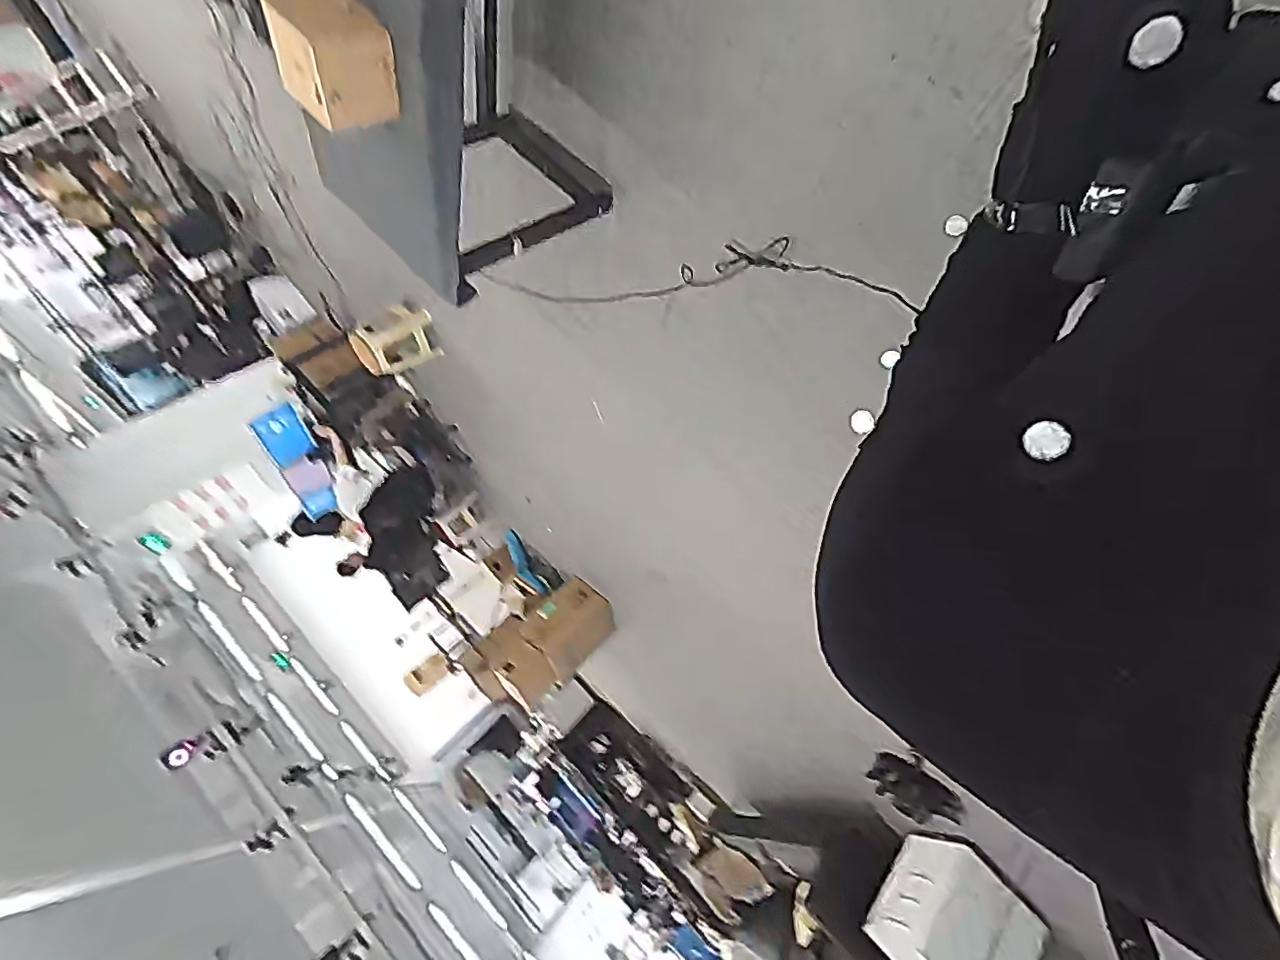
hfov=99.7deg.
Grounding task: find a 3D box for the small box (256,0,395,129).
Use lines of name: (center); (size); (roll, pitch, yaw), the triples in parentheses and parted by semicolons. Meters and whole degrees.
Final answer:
small box: (-0.639, -0.872, 1.118); (0.179, 0.176, 0.168); (45, 150, 10)
